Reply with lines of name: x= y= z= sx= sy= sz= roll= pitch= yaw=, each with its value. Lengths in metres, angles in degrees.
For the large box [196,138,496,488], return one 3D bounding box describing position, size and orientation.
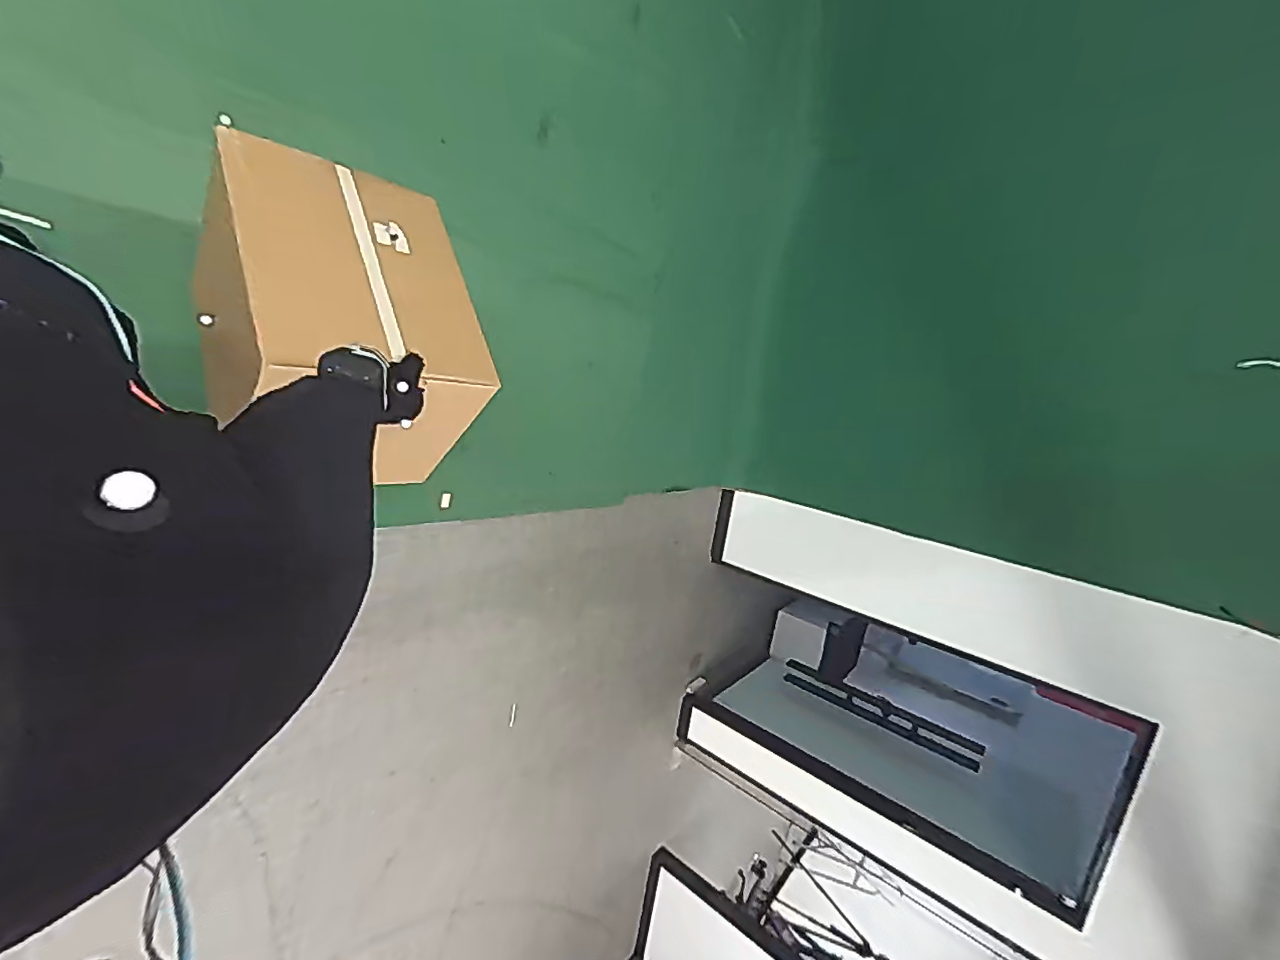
large box: x=-0.497 y=-0.237 z=0.890 sx=0.320 sy=0.320 sz=0.408 roll=-3 pitch=63 yaw=-48
